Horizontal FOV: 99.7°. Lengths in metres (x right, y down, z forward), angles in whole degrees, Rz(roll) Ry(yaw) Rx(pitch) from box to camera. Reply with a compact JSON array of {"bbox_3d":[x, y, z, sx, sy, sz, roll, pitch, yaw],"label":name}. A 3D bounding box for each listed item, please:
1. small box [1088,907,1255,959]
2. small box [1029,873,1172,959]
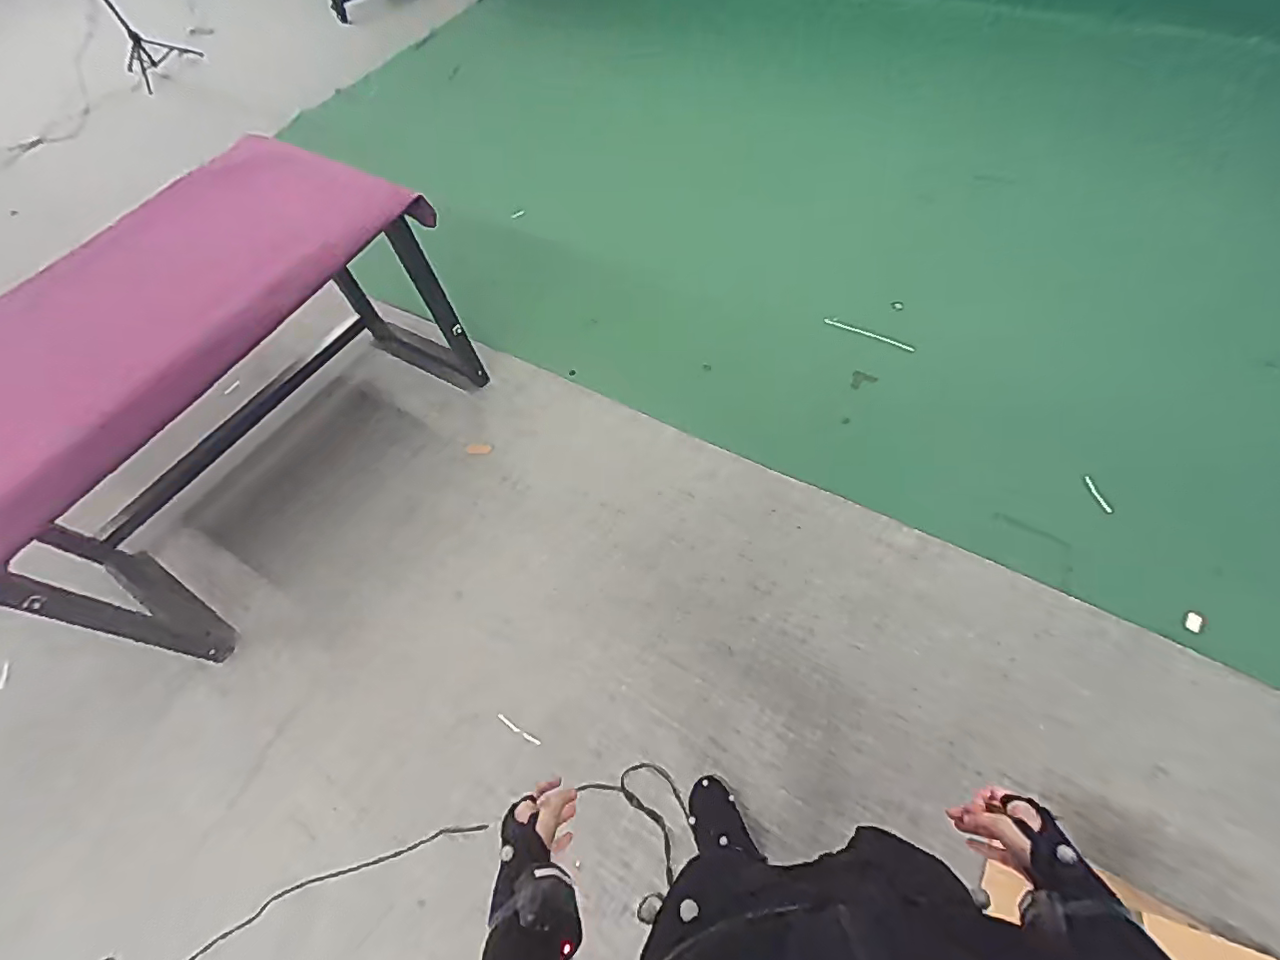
[{"bbox_3d":[0.843,0.799,0.836,0.179,0.176,0.168,14,62,14],"label":"small box"},{"bbox_3d":[0.862,0.860,0.988,0.179,0.176,0.168,31,69,21],"label":"small box"}]
